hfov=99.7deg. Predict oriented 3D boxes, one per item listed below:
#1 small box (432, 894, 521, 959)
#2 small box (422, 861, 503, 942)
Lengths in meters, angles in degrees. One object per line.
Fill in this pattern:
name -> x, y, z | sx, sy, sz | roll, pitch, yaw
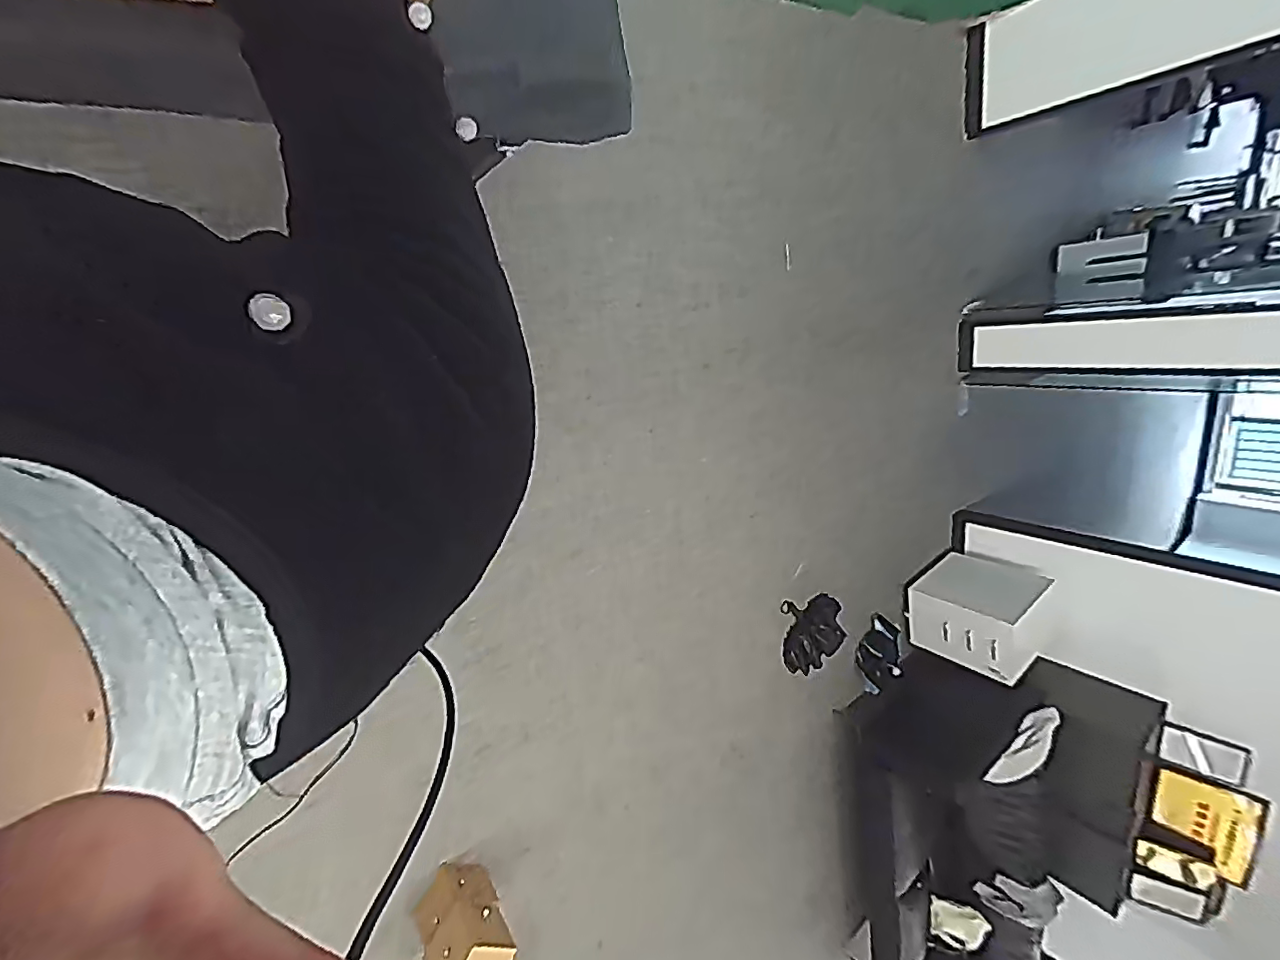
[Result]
small box -> -0.491, 1.382, 1.599 | 0.168, 0.176, 0.179 | 40, 75, -35
small box -> -0.576, 1.365, 1.740 | 0.168, 0.176, 0.179 | 30, 82, -36
